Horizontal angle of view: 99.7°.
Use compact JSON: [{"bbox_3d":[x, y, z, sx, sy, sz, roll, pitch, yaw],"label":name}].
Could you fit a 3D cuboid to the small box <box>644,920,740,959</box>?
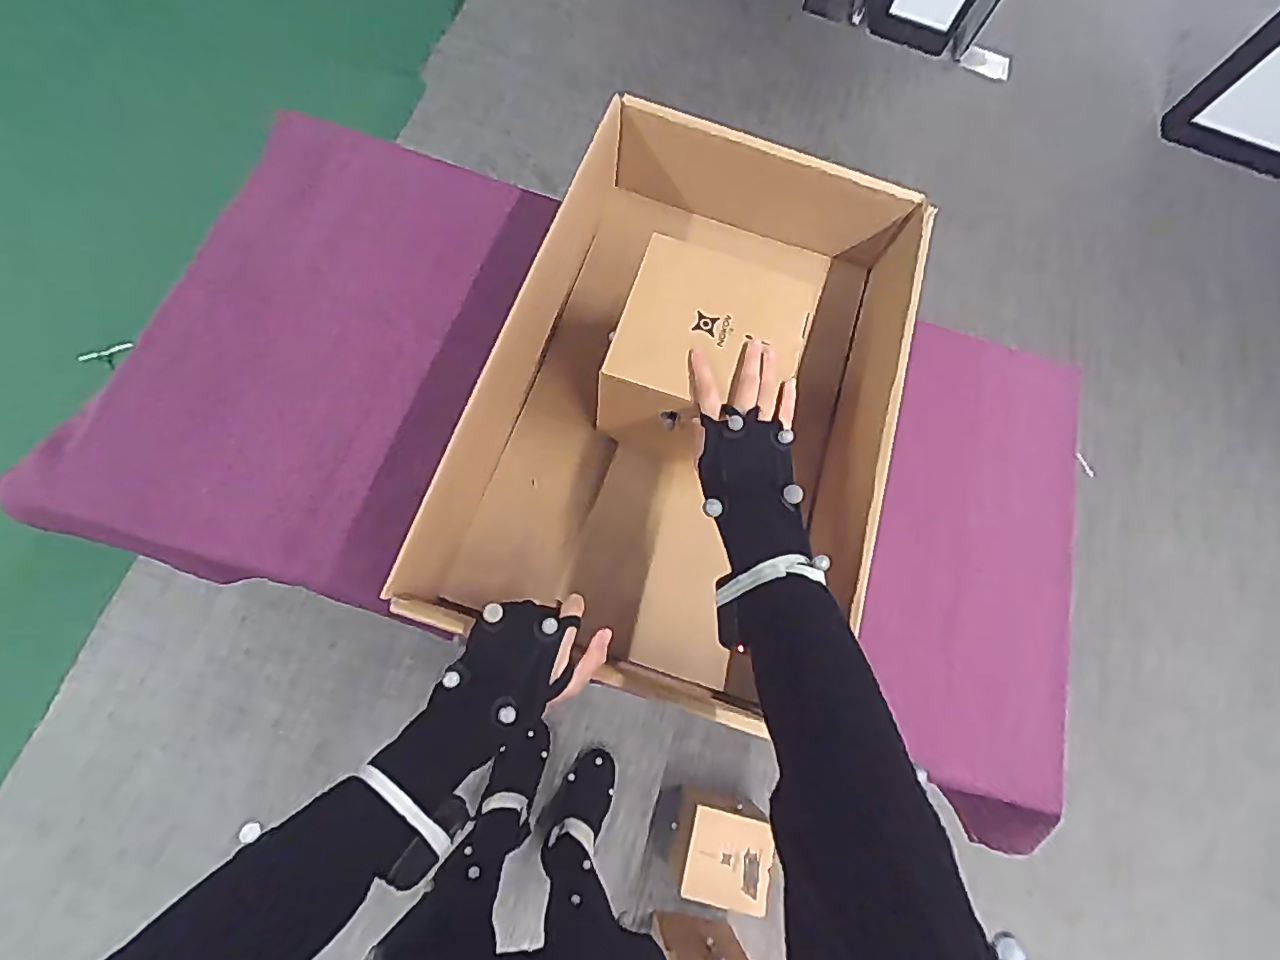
[{"bbox_3d":[0.096,1.018,1.076,0.179,0.176,0.168,13,71,-3],"label":"small box"}]
